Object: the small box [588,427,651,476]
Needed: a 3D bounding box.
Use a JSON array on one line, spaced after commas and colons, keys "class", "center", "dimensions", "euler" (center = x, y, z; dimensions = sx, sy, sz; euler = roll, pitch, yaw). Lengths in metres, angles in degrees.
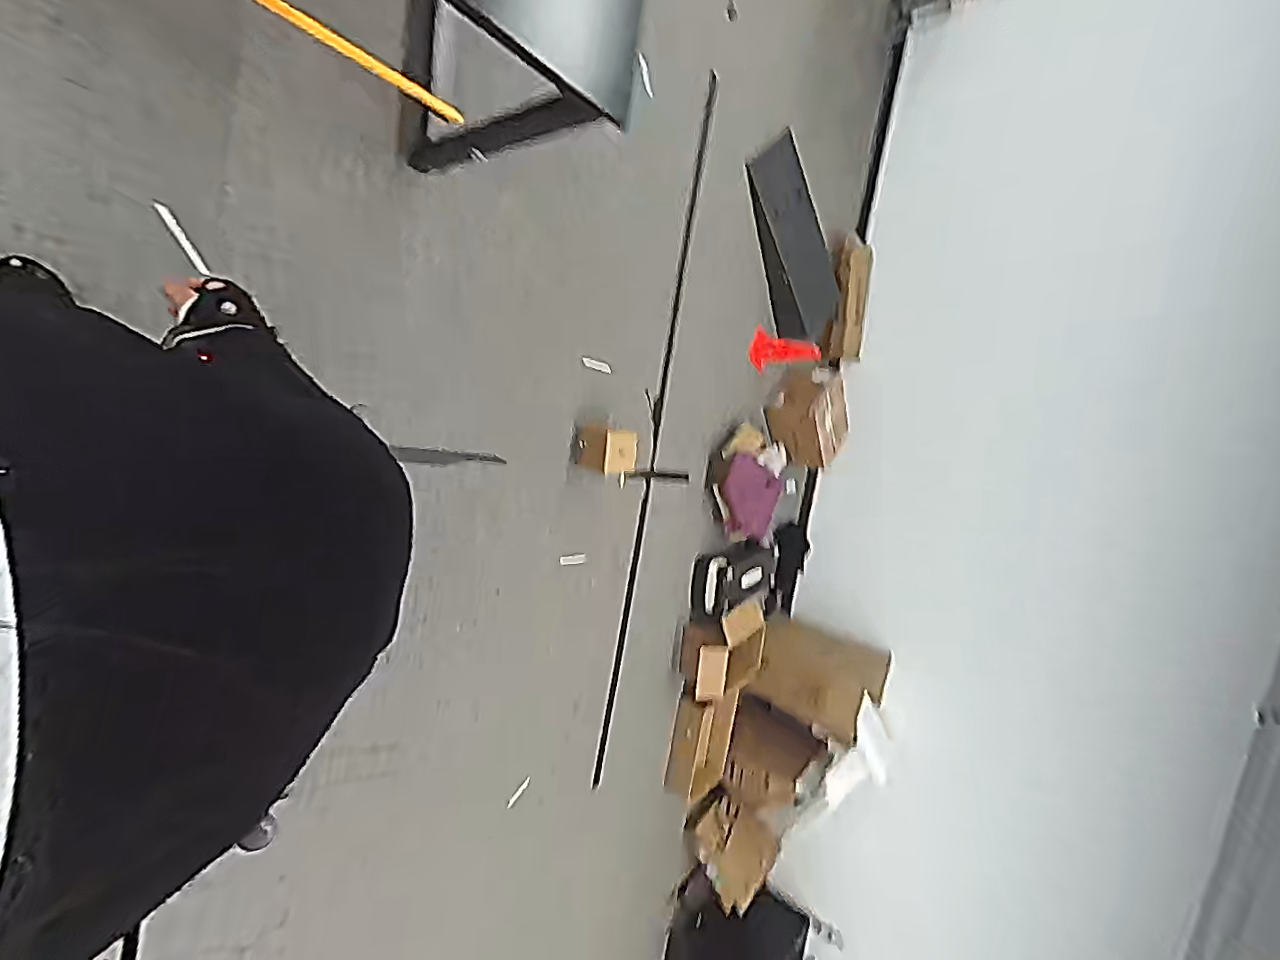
[{"class": "small box", "center": [-0.081, -0.115, 2.114], "dimensions": [0.179, 0.176, 0.168], "euler": [-8, 107, -49]}]
